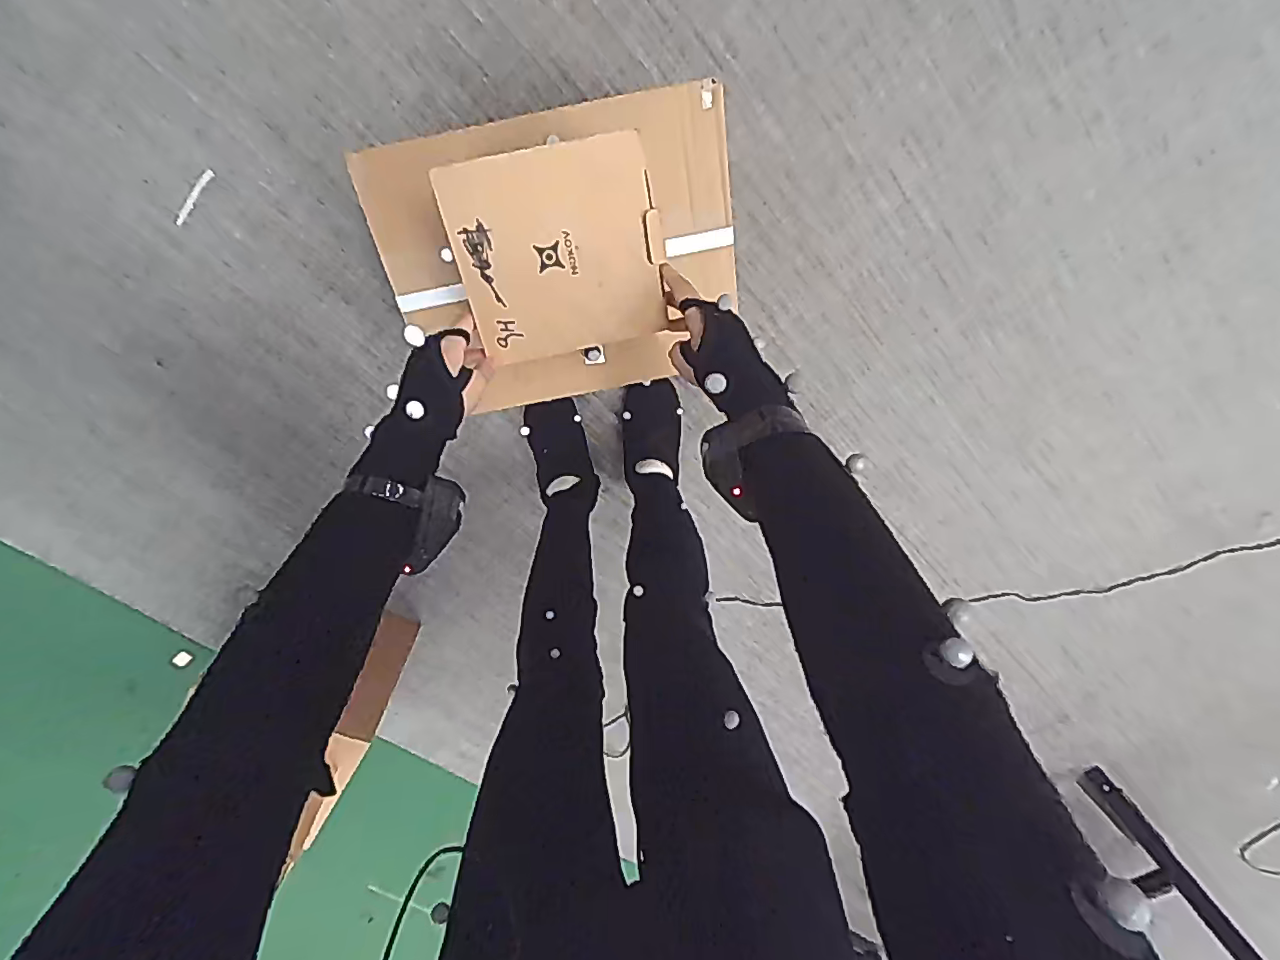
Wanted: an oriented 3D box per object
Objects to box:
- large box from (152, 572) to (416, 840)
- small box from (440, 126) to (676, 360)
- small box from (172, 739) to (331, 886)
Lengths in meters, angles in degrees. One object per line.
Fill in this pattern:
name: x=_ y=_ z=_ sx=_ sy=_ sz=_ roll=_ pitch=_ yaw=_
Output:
large box: x=-0.736 y=0.478 z=1.158 sx=0.320 sy=0.320 sz=0.408 roll=28 pitch=114 yaw=-16
small box: x=-0.075 y=-0.234 z=0.537 sx=0.179 sy=0.176 sz=0.168 roll=-13 pitch=117 yaw=-3
small box: x=-0.681 y=0.587 z=0.941 sx=0.179 sy=0.176 sz=0.168 roll=33 pitch=110 yaw=-19
